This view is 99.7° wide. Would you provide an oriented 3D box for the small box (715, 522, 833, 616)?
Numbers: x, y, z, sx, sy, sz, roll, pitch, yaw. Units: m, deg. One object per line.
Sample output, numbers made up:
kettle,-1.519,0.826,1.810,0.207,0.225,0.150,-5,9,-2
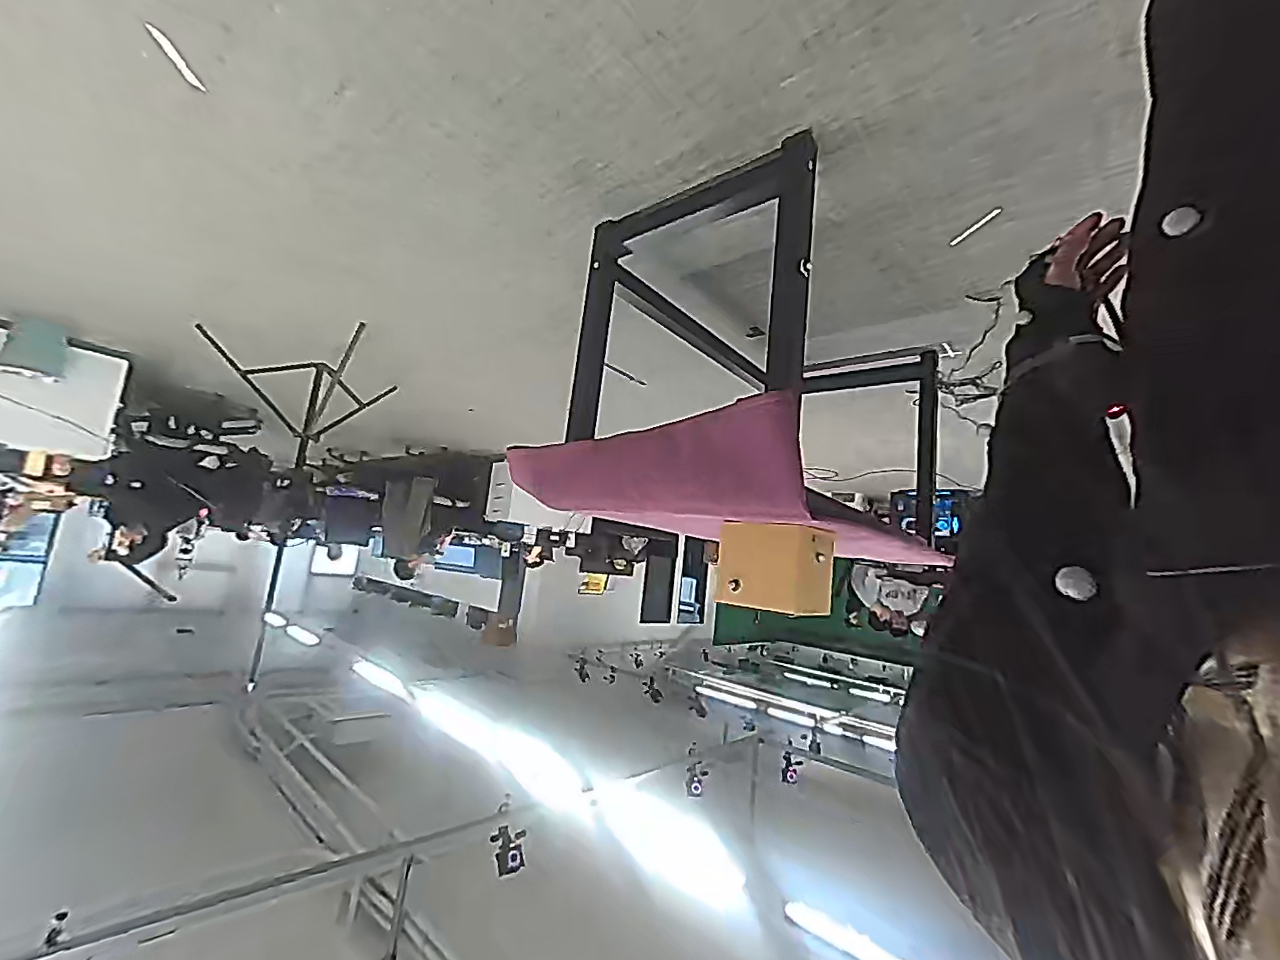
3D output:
small box,0.273,0.176,1.090,0.179,0.176,0.168,-1,170,42
